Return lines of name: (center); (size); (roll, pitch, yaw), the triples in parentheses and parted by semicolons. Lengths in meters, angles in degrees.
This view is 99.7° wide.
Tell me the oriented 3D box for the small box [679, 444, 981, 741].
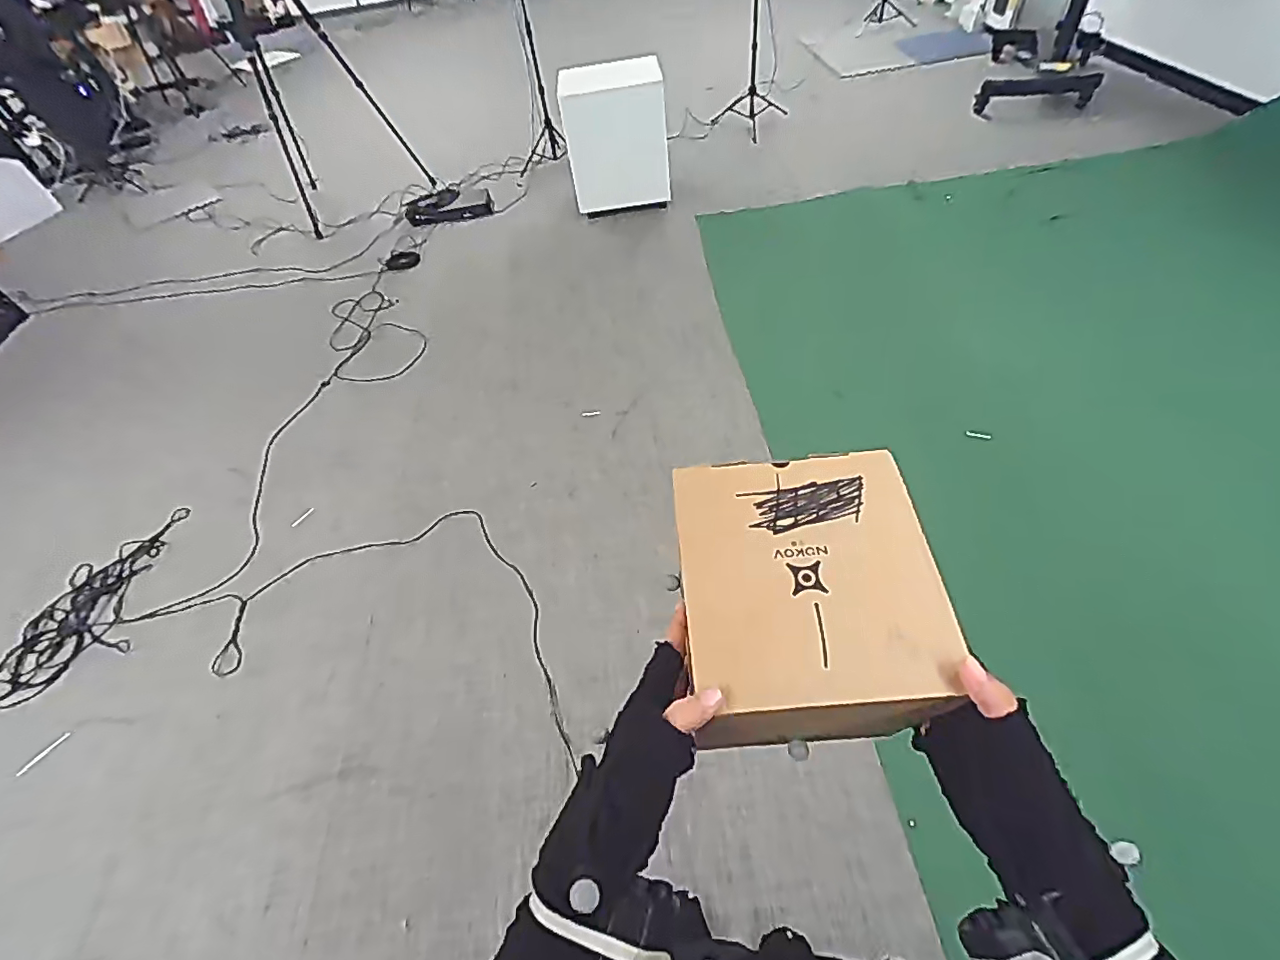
small box: (0.118, 0.094, 0.427); (0.168, 0.176, 0.179); (-5, 57, 2)
